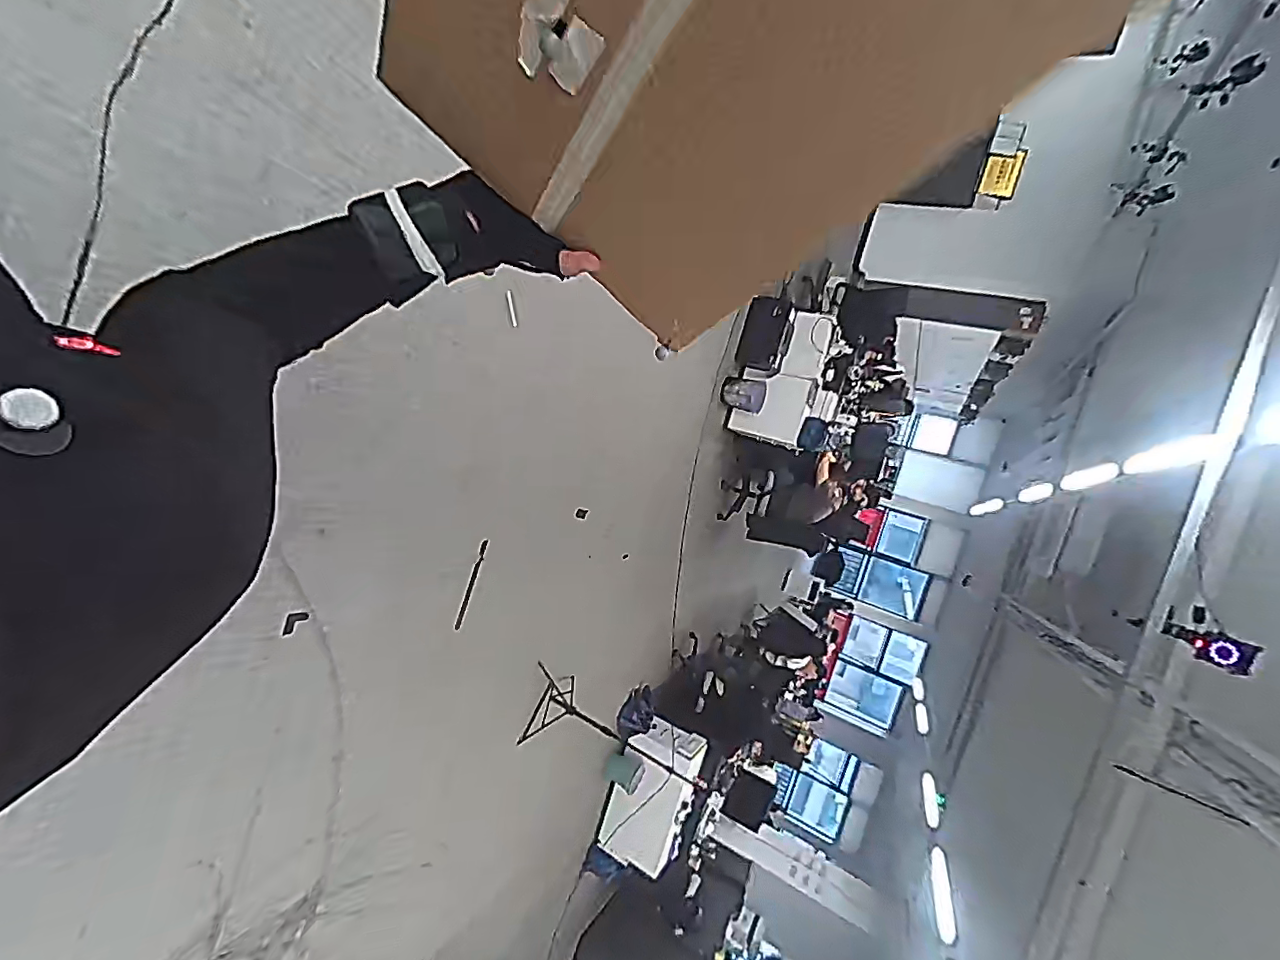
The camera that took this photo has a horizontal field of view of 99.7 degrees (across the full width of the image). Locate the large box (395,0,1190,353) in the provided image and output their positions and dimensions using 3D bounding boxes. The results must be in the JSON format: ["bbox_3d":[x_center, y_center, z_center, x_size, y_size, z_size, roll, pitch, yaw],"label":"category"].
[{"bbox_3d":[0.088,-0.361,0.357,0.320,0.408,0.320,42,63,-17],"label":"large box"}]
